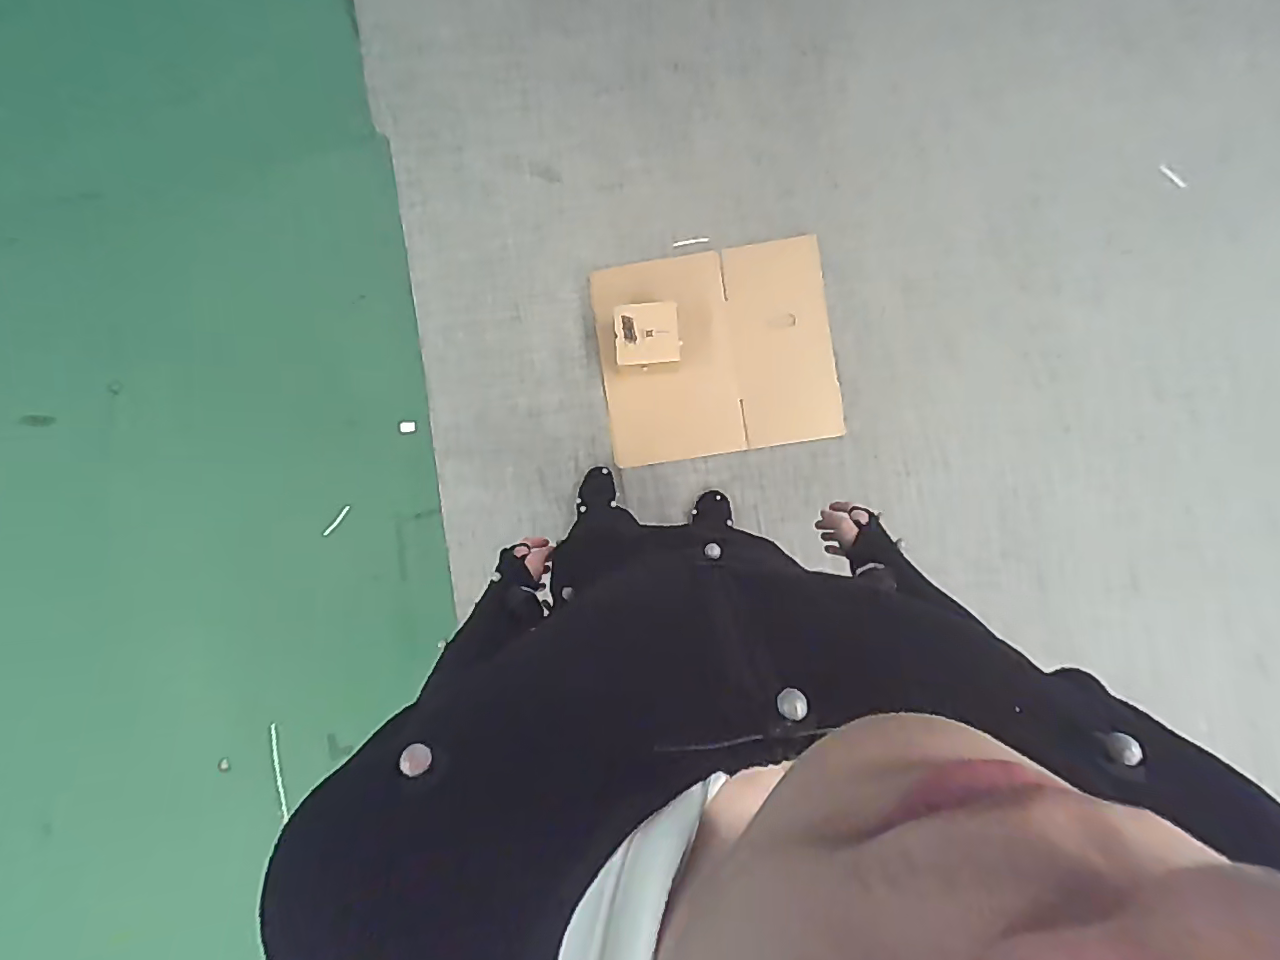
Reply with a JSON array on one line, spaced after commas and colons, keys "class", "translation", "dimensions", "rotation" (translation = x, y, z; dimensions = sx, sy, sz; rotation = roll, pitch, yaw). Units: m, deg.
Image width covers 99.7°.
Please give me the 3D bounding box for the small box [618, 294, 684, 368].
[{"class": "small box", "translation": [0.034, -0.420, 1.548], "dimensions": [0.179, 0.176, 0.168], "rotation": [-3, 91, 3]}]
